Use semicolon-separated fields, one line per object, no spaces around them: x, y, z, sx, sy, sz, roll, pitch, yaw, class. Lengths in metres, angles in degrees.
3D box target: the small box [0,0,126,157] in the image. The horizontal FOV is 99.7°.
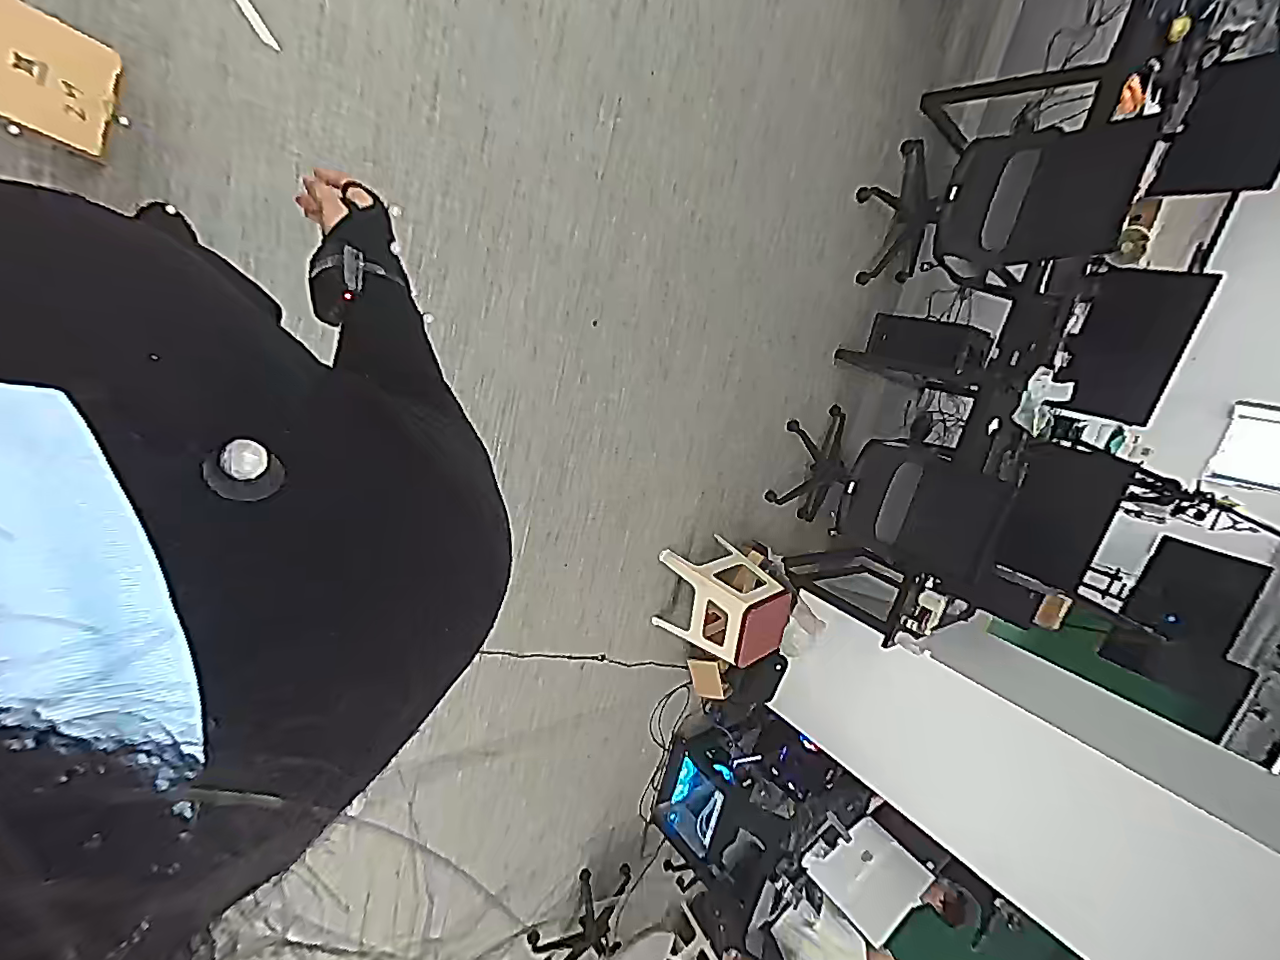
-0.959;-0.643;0.861;0.179;0.176;0.168;15;100;-45;small box
